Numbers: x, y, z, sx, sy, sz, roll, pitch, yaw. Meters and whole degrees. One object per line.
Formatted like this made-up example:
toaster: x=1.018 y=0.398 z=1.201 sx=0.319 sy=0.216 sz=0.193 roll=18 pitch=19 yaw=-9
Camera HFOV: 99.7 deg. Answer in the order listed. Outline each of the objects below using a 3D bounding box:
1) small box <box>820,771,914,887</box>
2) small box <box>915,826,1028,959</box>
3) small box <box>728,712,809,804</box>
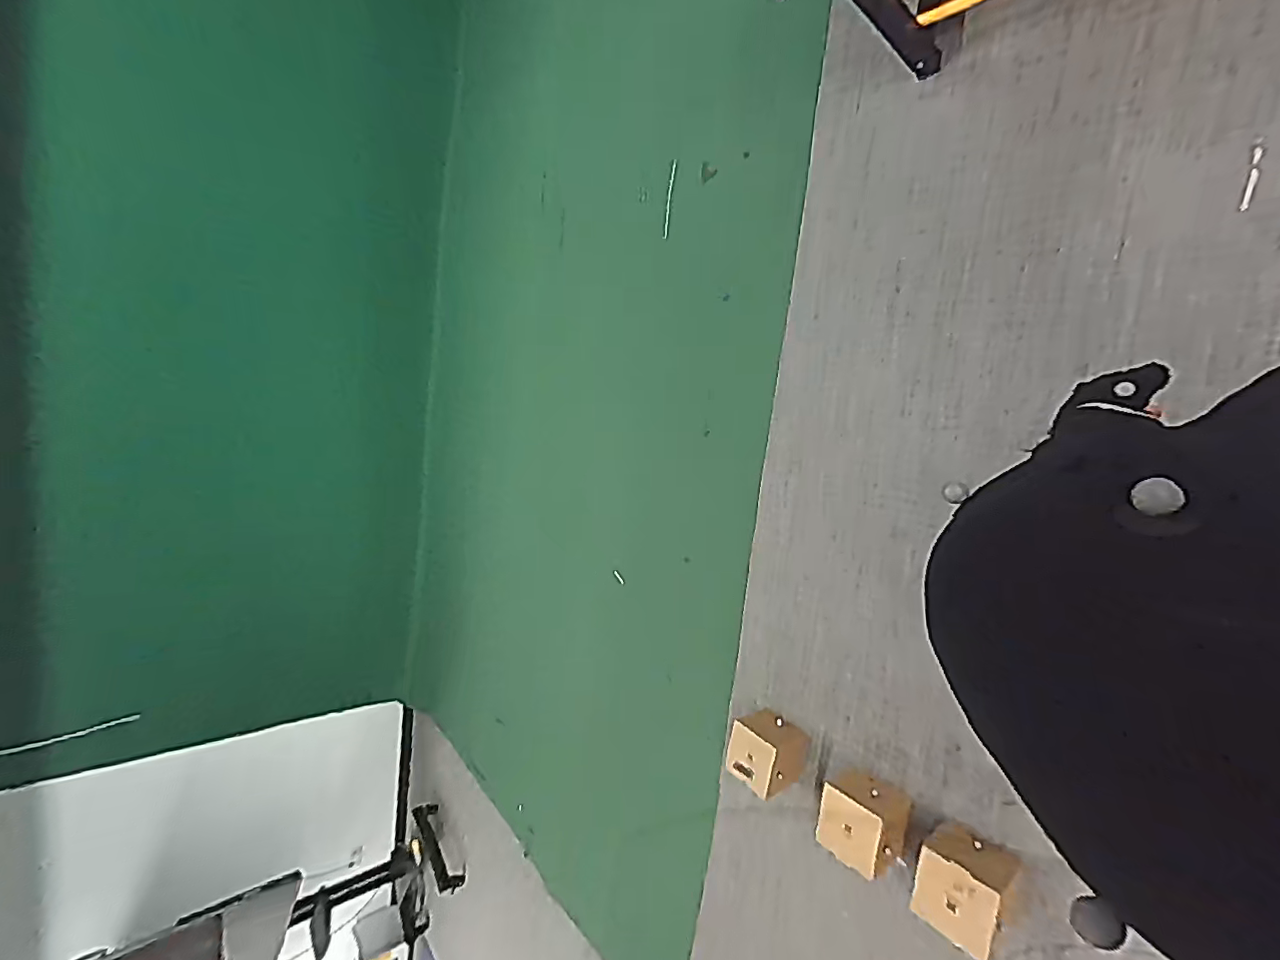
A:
small box: x=0.612 y=0.923 z=1.453 sx=0.168 sy=0.176 sz=0.179 roll=13 pitch=99 yaw=49
small box: x=0.773 y=0.961 z=1.258 sx=0.168 sy=0.176 sz=0.179 roll=15 pitch=99 yaw=48
small box: x=0.405 y=0.864 z=1.697 sx=0.168 sy=0.176 sz=0.179 roll=19 pitch=102 yaw=48
